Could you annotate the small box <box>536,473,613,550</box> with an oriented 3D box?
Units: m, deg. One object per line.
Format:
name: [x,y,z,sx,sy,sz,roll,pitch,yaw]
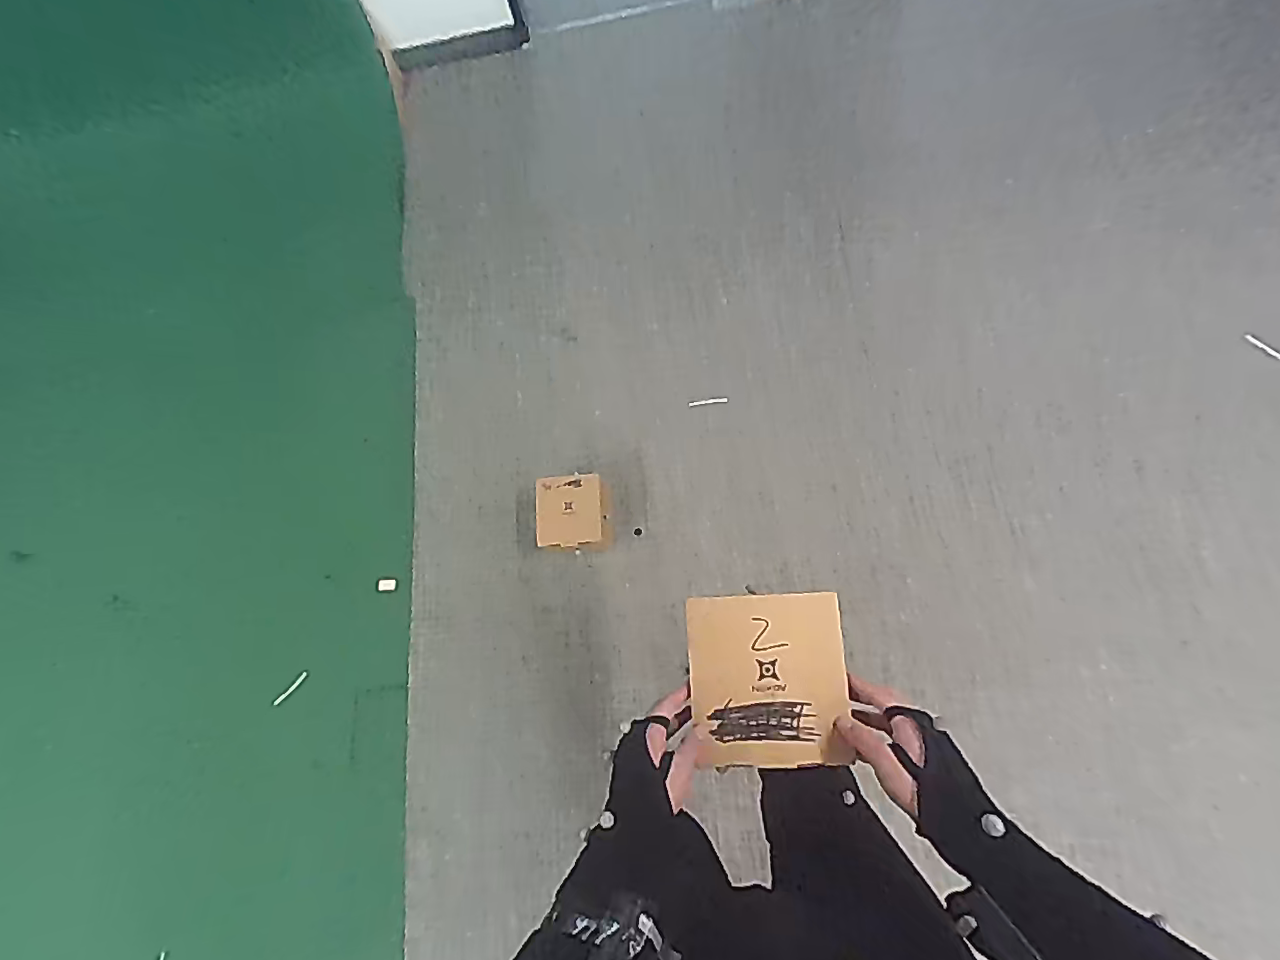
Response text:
small box: [-0.166,0.088,1.409,0.168,0.176,0.179,-5,76,6]
